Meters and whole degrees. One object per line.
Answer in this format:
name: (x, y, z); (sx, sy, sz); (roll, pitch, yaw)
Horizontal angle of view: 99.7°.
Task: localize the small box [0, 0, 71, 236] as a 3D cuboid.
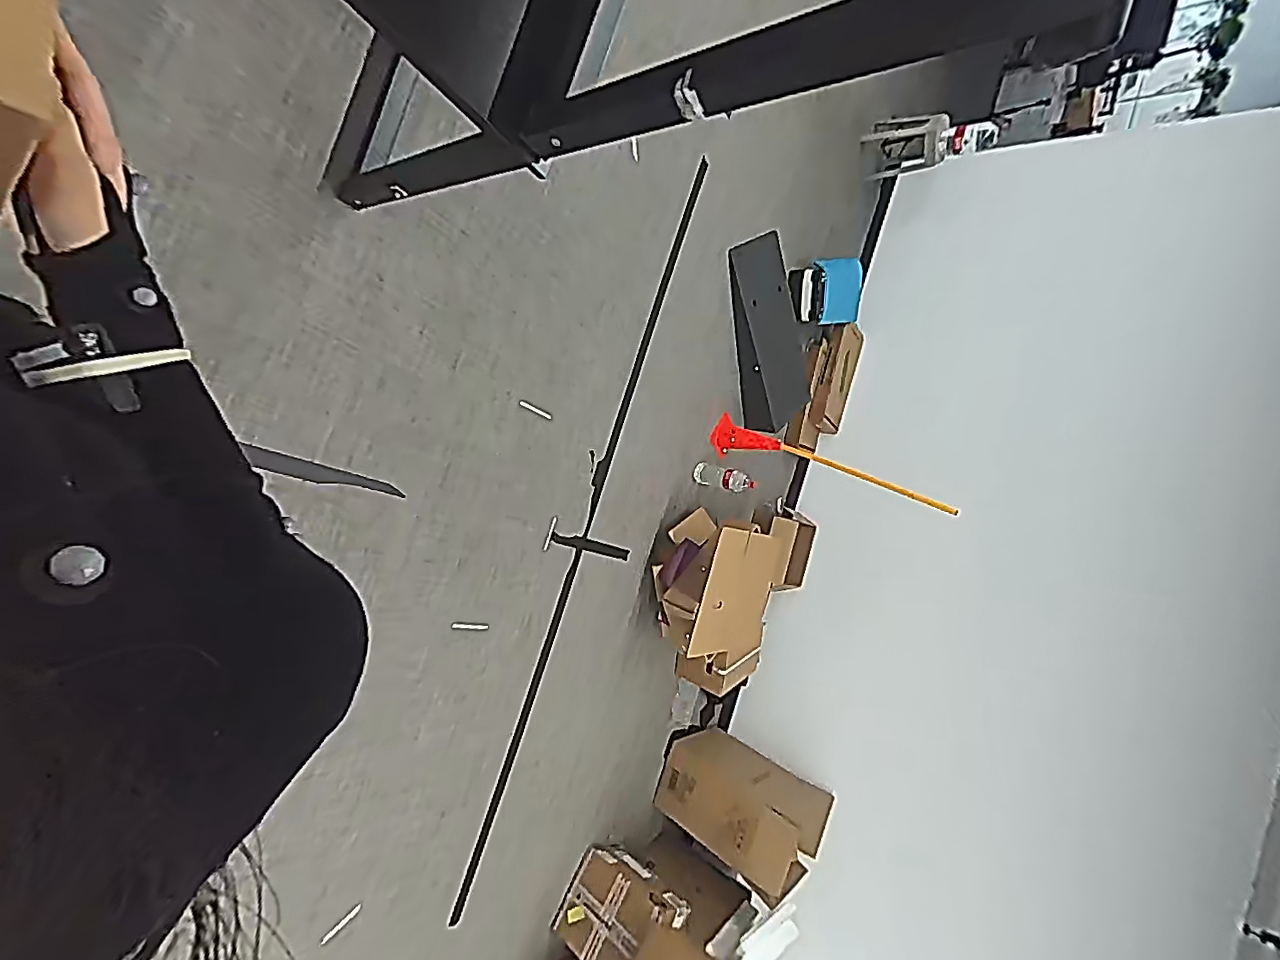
small box: (-0.400, -0.242, 0.247); (0.168, 0.176, 0.179); (4, 77, -58)
